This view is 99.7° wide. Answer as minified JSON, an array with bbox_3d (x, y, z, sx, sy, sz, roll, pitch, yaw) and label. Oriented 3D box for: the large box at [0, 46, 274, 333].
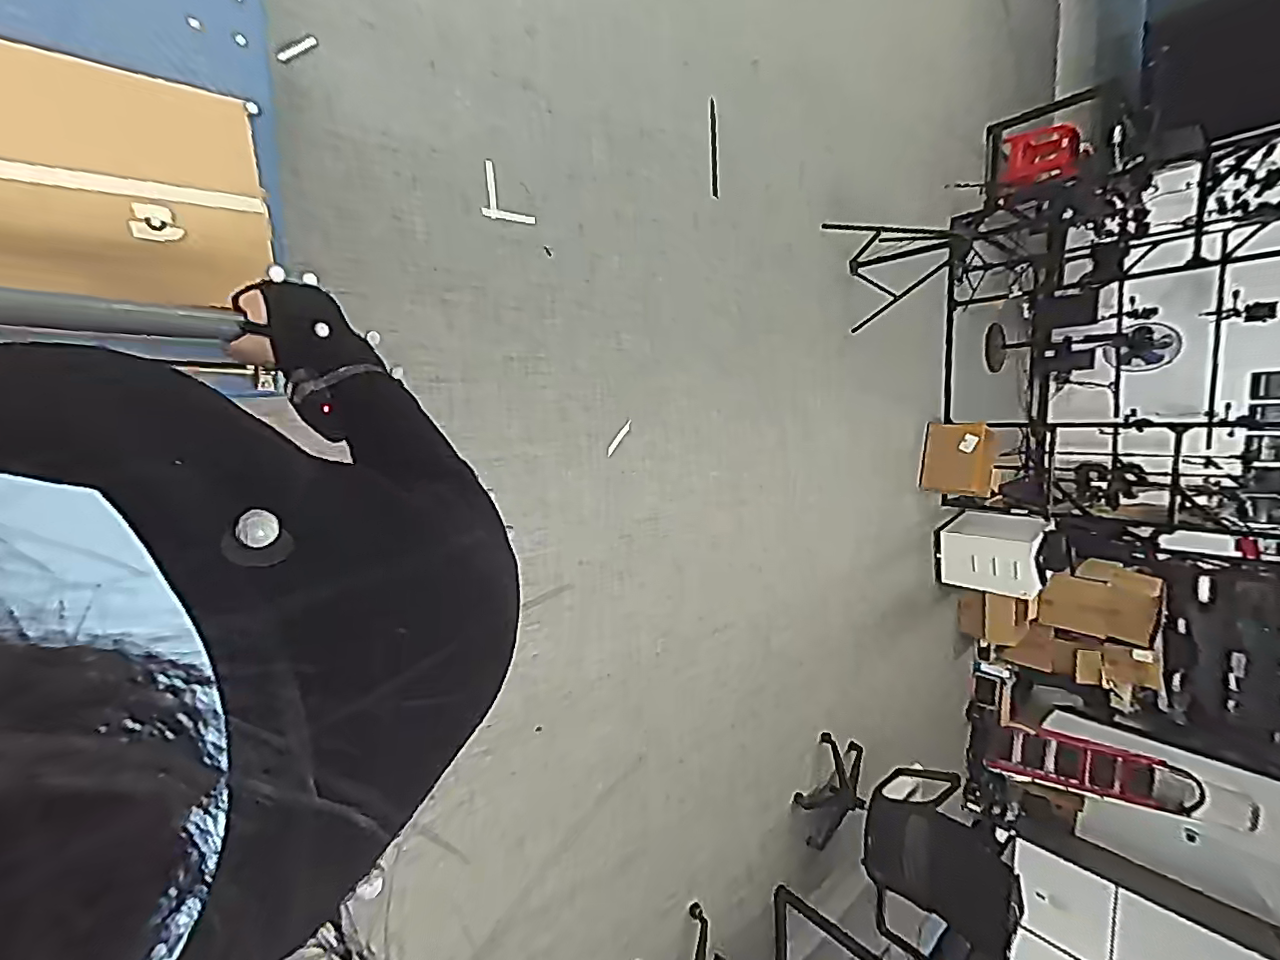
[{"bbox_3d":[-0.852,-0.406,0.834,0.408,0.320,0.320,-12,102,-42],"label":"large box"}]
